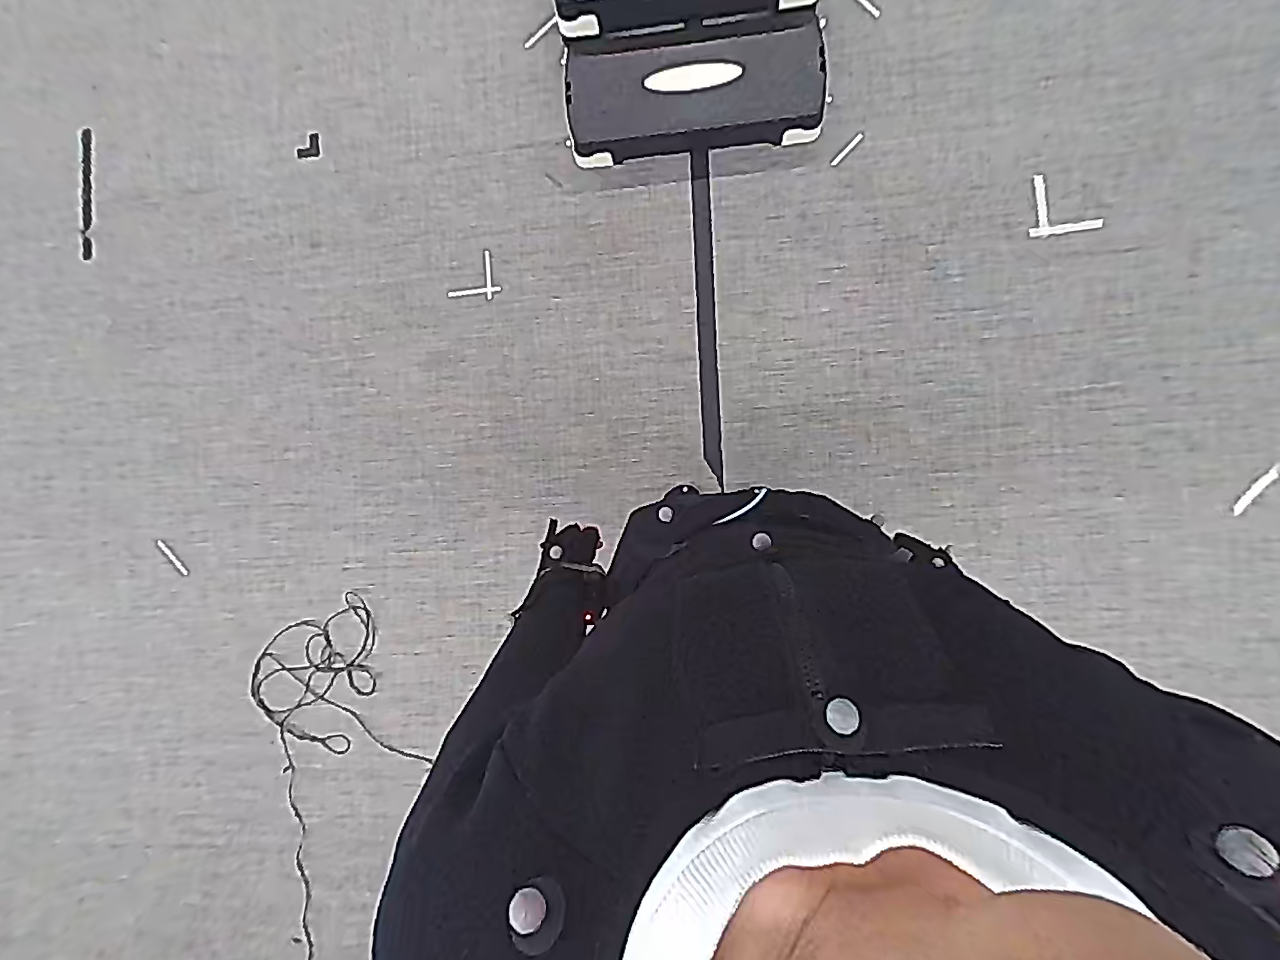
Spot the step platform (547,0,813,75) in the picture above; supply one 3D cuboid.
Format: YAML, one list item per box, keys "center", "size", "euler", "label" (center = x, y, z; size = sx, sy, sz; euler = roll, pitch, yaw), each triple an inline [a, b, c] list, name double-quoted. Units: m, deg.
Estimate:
- center: [0.097, -1.281, 1.375]
  size: [0.684, 0.204, 0.286]
  euler: [-4, 90, 5]
  label: "step platform"
